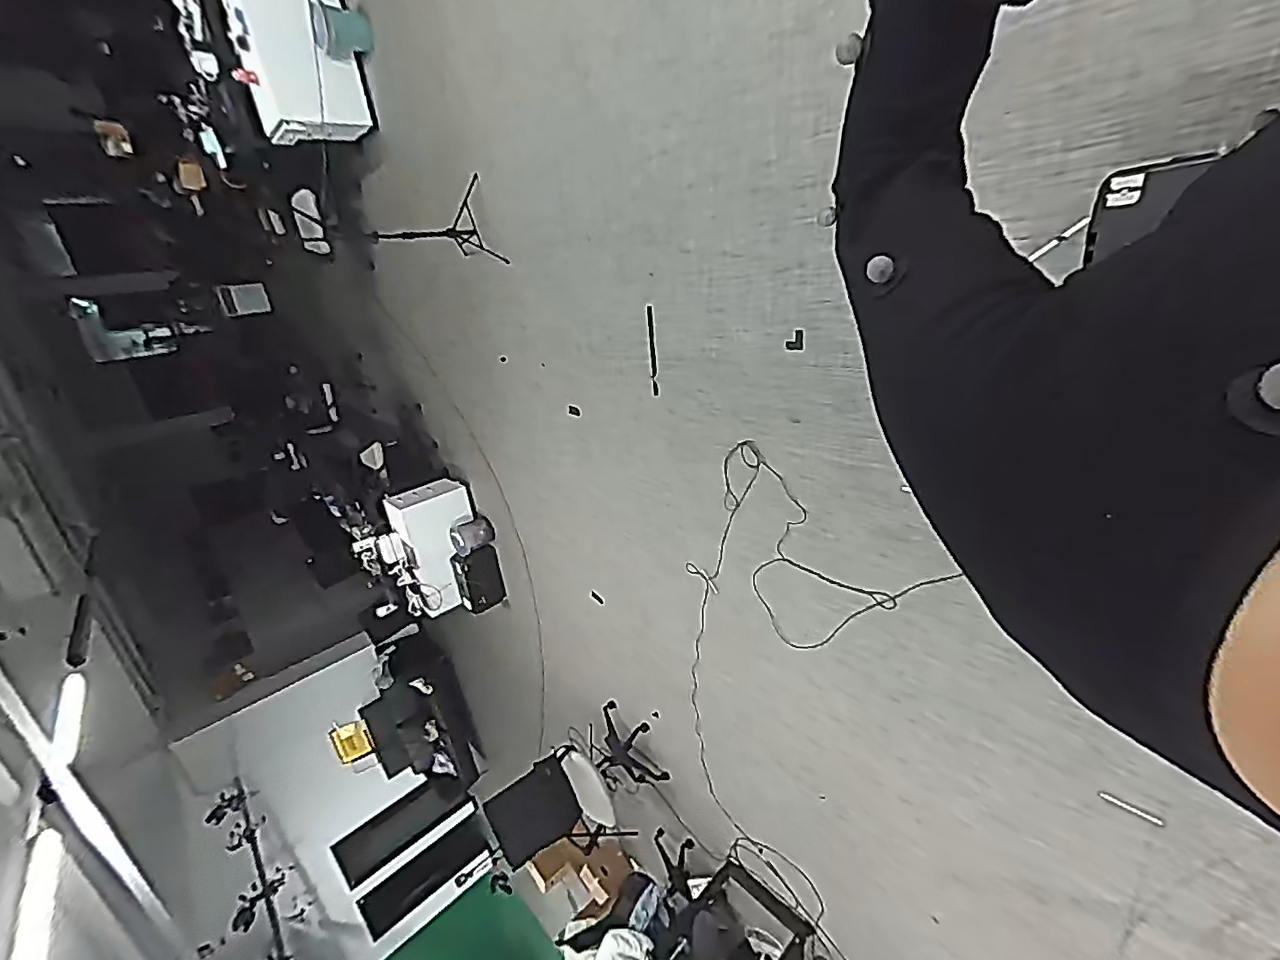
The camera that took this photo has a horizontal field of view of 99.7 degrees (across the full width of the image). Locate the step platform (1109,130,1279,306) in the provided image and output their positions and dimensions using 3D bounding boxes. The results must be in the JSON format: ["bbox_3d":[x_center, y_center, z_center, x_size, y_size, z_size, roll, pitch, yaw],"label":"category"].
[{"bbox_3d":[1.236,-0.464,0.903,0.684,0.204,0.286,13,119,46],"label":"step platform"}]
